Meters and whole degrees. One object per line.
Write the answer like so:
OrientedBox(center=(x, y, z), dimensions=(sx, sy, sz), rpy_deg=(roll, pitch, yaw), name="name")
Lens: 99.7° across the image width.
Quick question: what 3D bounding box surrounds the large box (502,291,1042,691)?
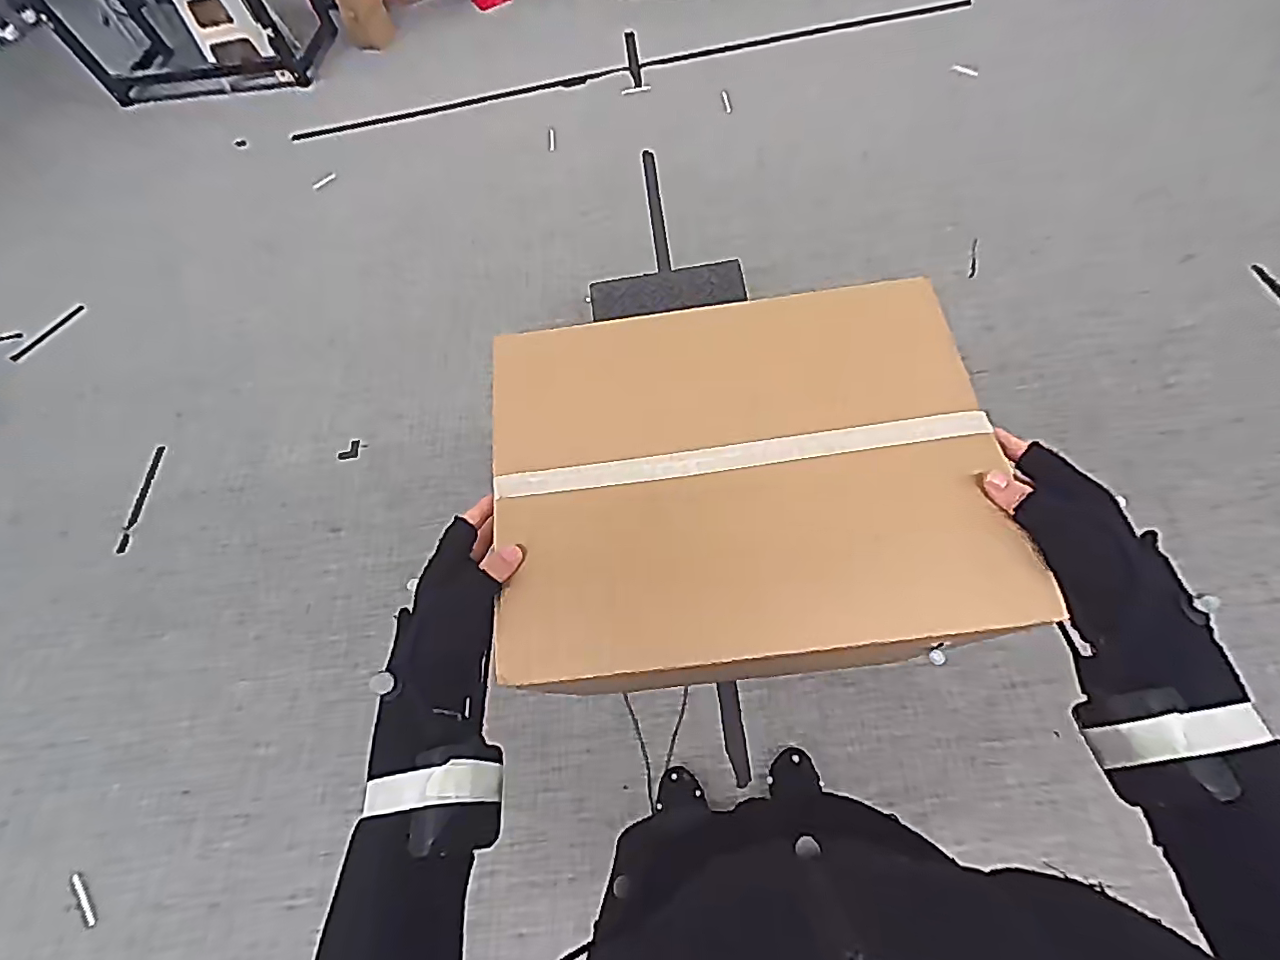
OrientedBox(center=(0.094, 0.044, 0.590), dimensions=(0.408, 0.320, 0.320), rpy_deg=(-7, 66, 2), name="large box")
